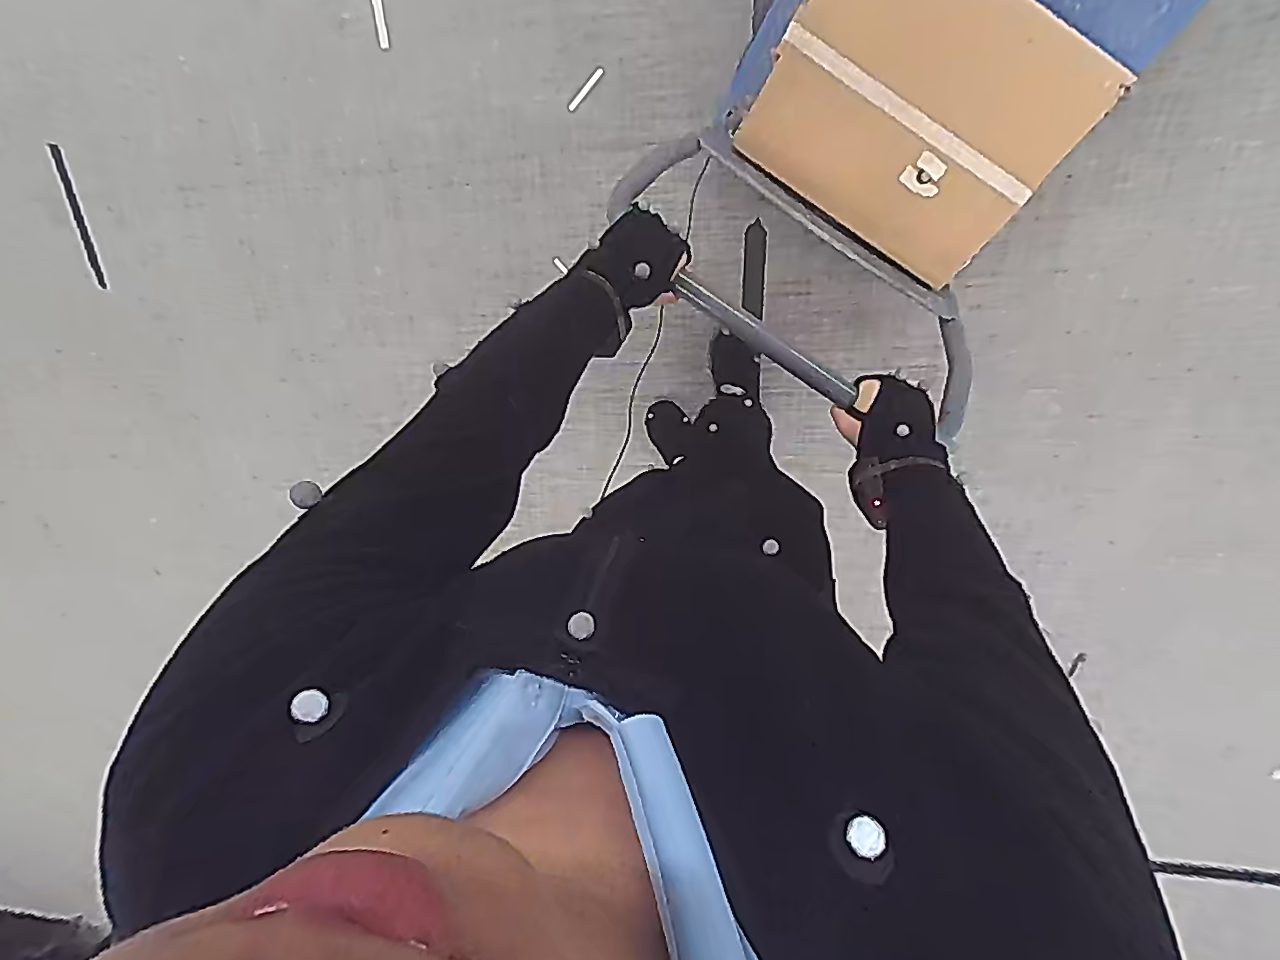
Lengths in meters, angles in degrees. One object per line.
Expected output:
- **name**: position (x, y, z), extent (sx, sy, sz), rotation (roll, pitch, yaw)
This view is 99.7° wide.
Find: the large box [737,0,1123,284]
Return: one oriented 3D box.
- **large box**: position (0.426, -0.598, 0.888), extent (0.408, 0.320, 0.320), rotation (33, 130, -4)
